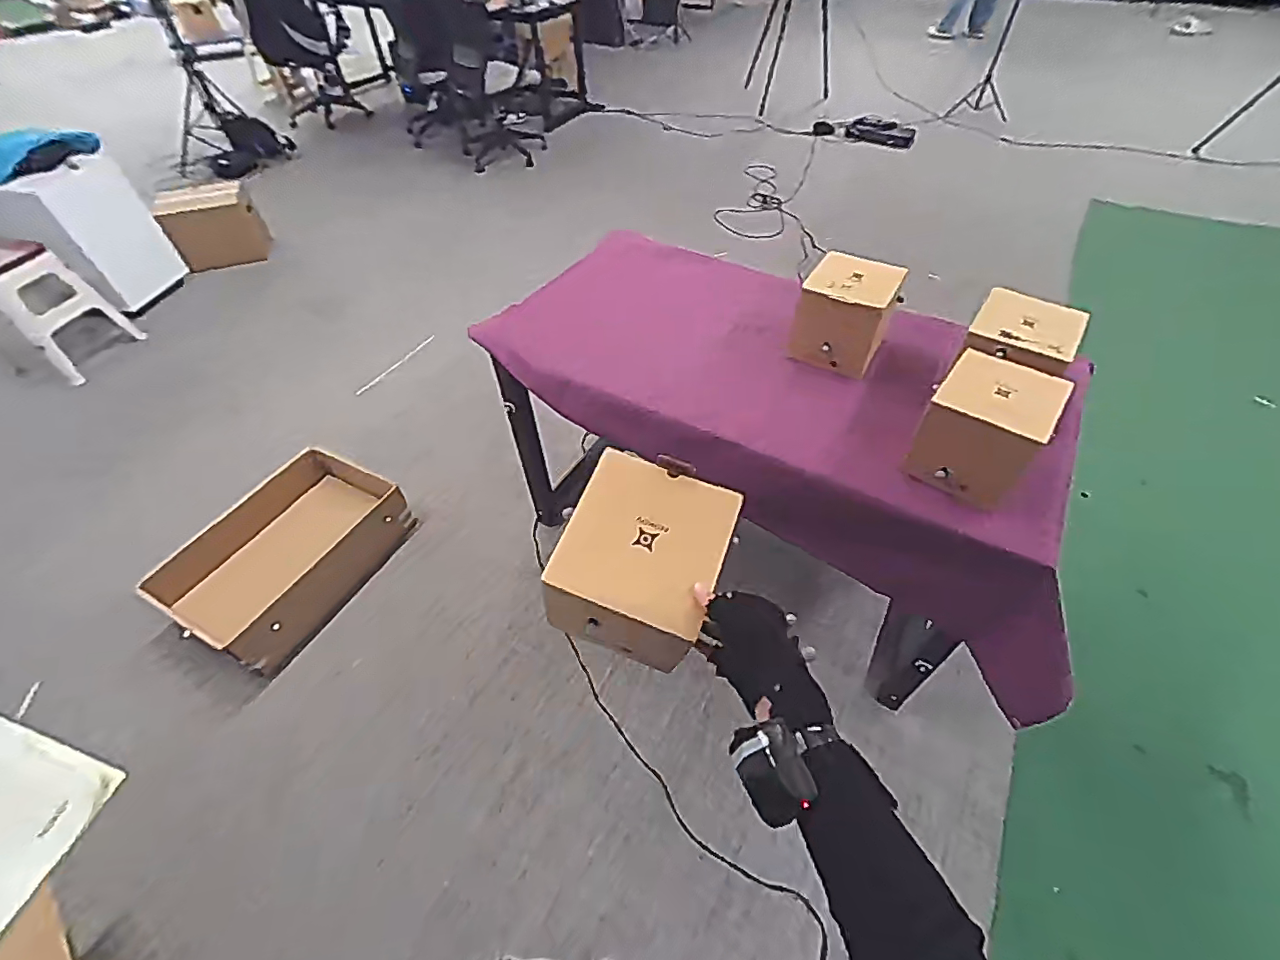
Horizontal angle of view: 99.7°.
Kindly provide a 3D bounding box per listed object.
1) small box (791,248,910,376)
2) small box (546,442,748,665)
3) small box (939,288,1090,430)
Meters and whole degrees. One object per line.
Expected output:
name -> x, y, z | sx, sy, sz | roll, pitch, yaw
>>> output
small box -> 0.432, -0.351, 1.132 | 0.168, 0.176, 0.179 | 25, 56, 21
small box -> 0.006, 0.094, 0.630 | 0.168, 0.176, 0.179 | 22, 59, 5
small box -> 0.697, -0.228, 1.021 | 0.168, 0.176, 0.179 | 29, 56, 24
